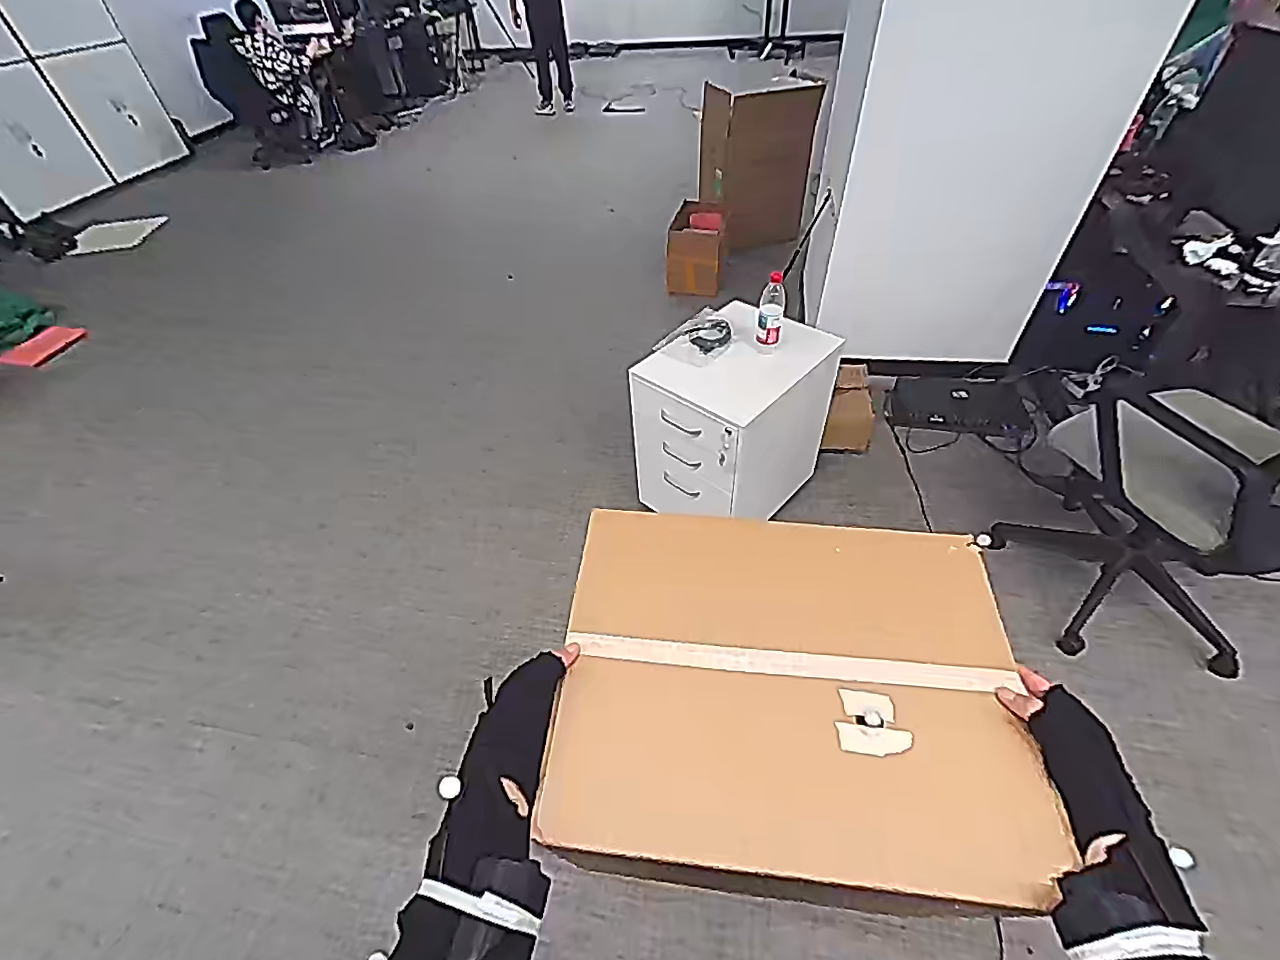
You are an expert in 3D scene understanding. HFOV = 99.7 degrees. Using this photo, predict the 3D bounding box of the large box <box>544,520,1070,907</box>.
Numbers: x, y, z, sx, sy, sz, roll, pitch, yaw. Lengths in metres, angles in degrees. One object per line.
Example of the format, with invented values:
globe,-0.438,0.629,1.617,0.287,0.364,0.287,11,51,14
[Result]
large box,0.136,0.268,0.617,0.408,0.320,0.320,4,52,5
